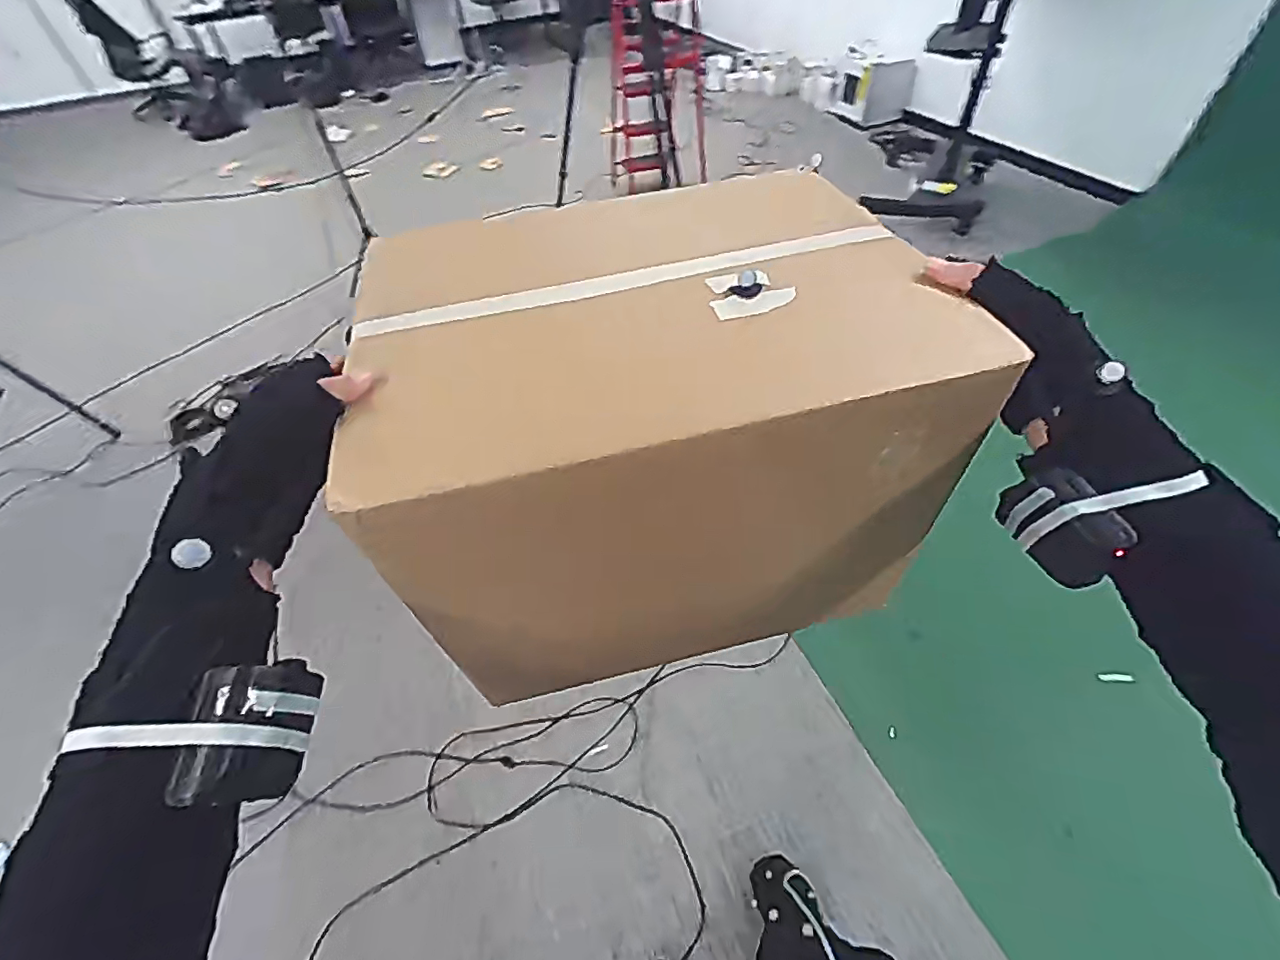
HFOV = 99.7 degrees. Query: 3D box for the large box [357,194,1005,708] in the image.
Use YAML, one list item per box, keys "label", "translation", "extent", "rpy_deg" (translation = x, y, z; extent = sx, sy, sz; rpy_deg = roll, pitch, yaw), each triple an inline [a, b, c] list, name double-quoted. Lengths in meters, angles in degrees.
- label: "large box"
  translation: [0.010, -0.030, 0.519]
  extent: [0.408, 0.320, 0.320]
  rpy_deg: [-12, 50, -6]
